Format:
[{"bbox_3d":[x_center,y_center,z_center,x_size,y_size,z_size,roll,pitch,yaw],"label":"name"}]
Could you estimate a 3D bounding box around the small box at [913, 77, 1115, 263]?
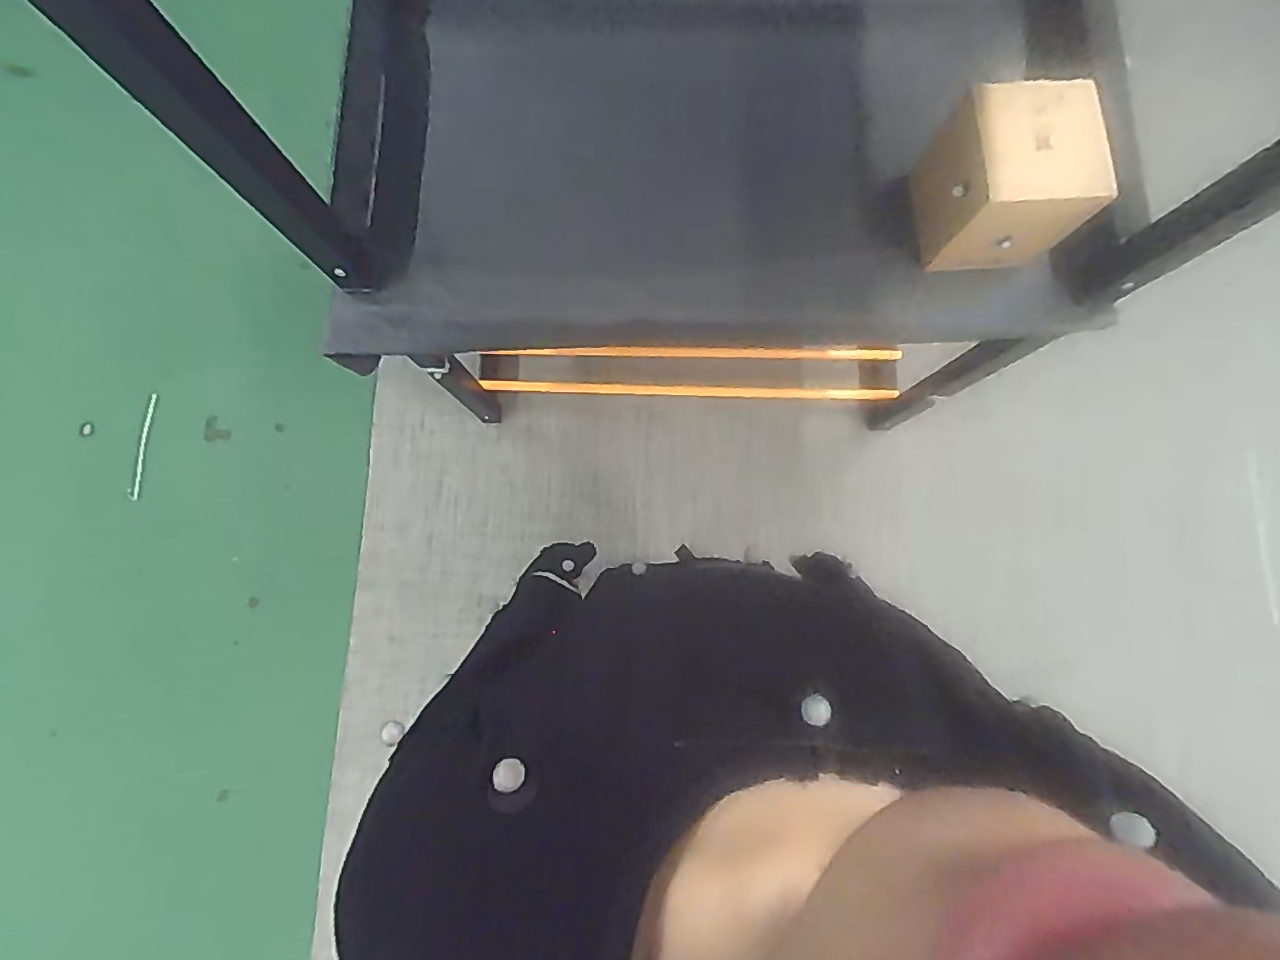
[{"bbox_3d":[0.523,-0.432,0.781,0.168,0.176,0.179,-3,80,-1],"label":"small box"}]
